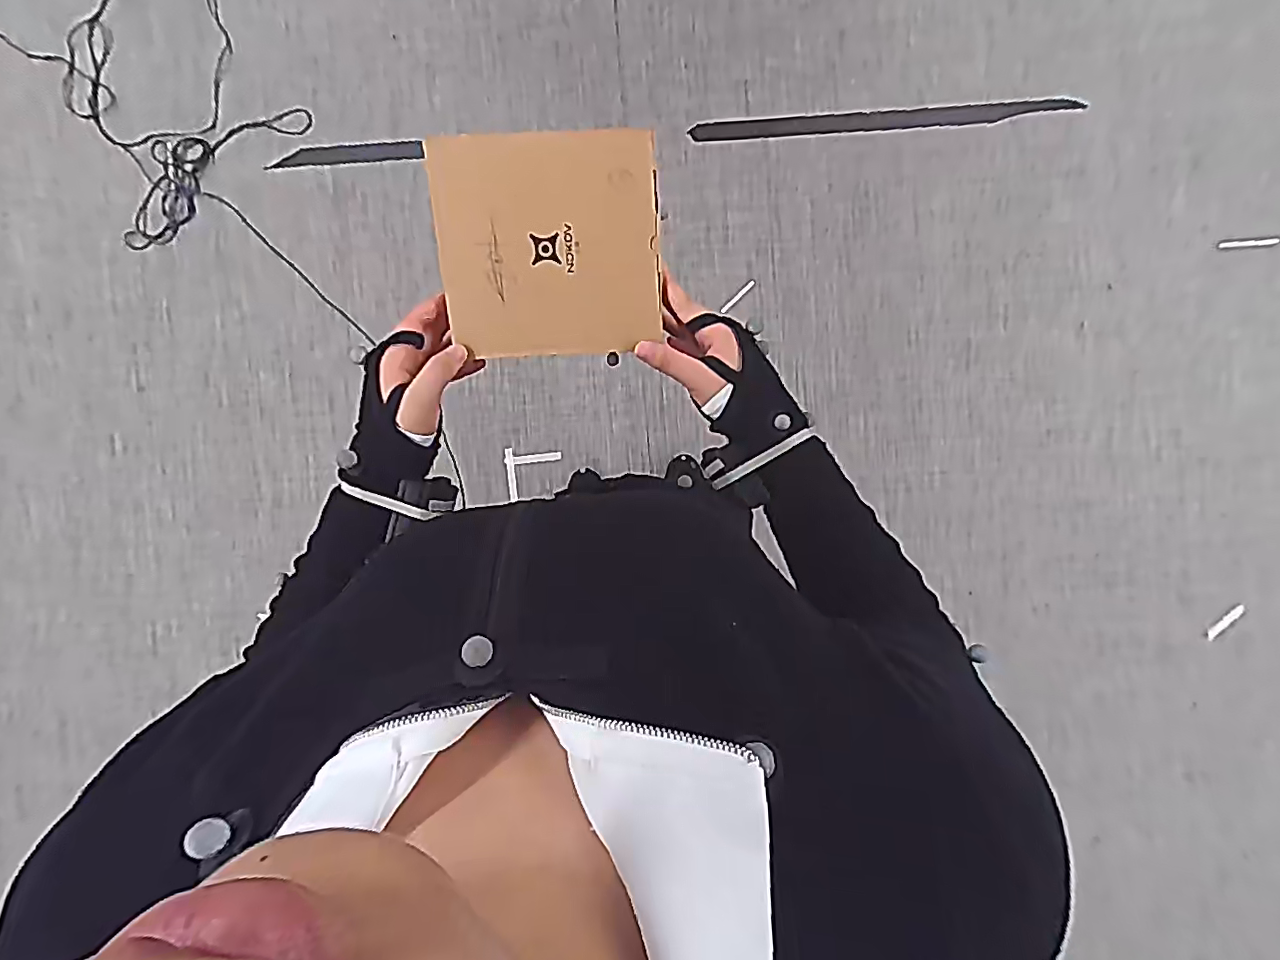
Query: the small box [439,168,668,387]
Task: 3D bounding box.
[{"bbox_3d":[-0.071,-0.184,0.523,0.179,0.176,0.168,-5,105,-1],"label":"small box"}]
